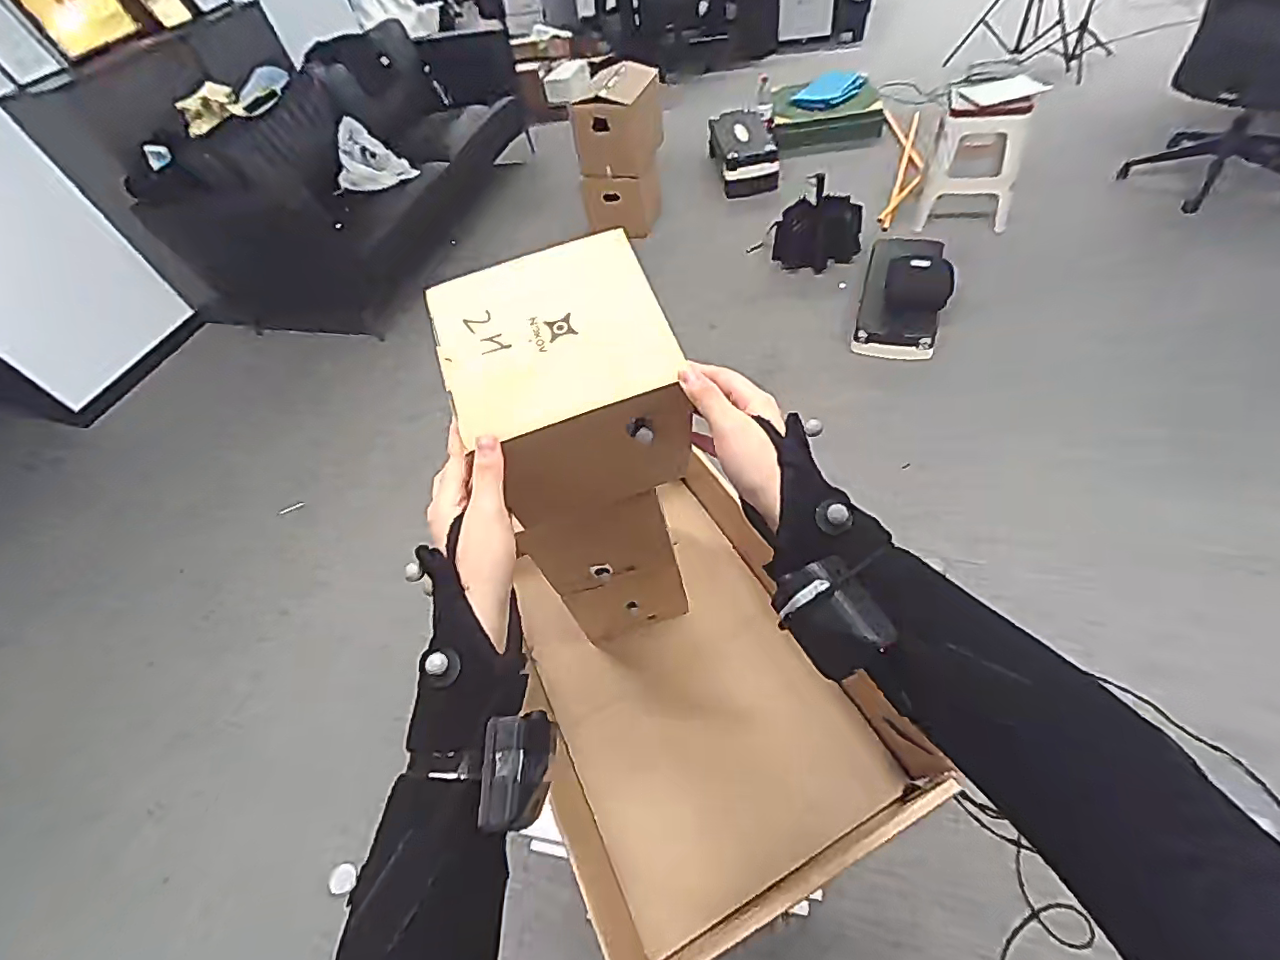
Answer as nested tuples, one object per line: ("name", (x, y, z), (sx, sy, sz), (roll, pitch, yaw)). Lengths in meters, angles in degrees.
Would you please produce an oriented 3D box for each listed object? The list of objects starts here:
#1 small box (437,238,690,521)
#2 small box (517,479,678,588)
("small box", (-0.062, -0.084, 0.509), (0.179, 0.176, 0.168), (-20, 64, -3))
("small box", (-0.056, 0.015, 0.710), (0.168, 0.176, 0.179), (-16, 52, 3))
